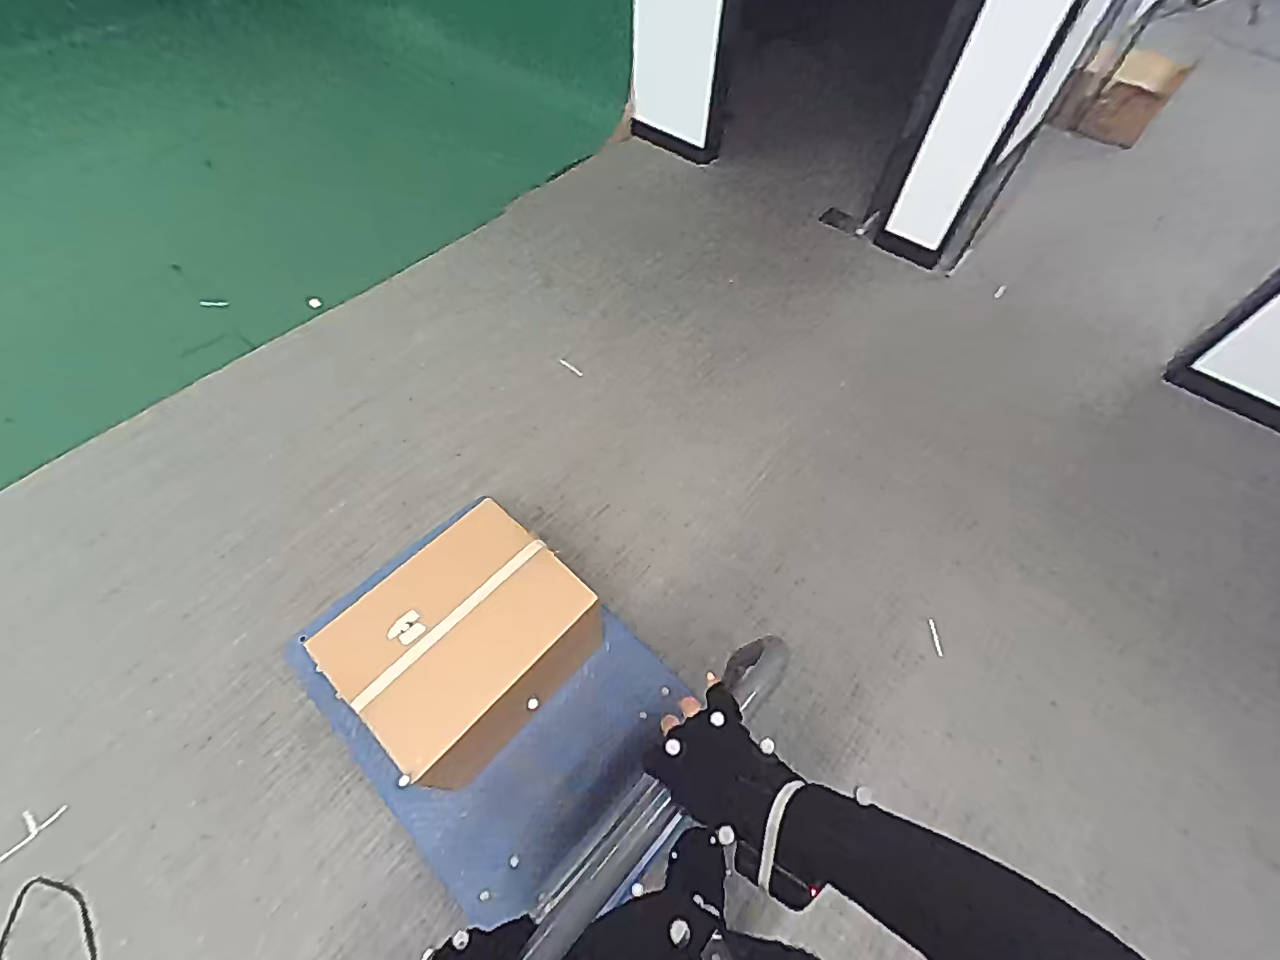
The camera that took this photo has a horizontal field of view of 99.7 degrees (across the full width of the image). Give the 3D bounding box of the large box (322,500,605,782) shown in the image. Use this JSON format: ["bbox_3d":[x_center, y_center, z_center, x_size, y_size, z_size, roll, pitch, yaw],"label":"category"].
[{"bbox_3d":[-0.312,0.325,1.089,0.320,0.320,0.408,38,65,19],"label":"large box"}]
